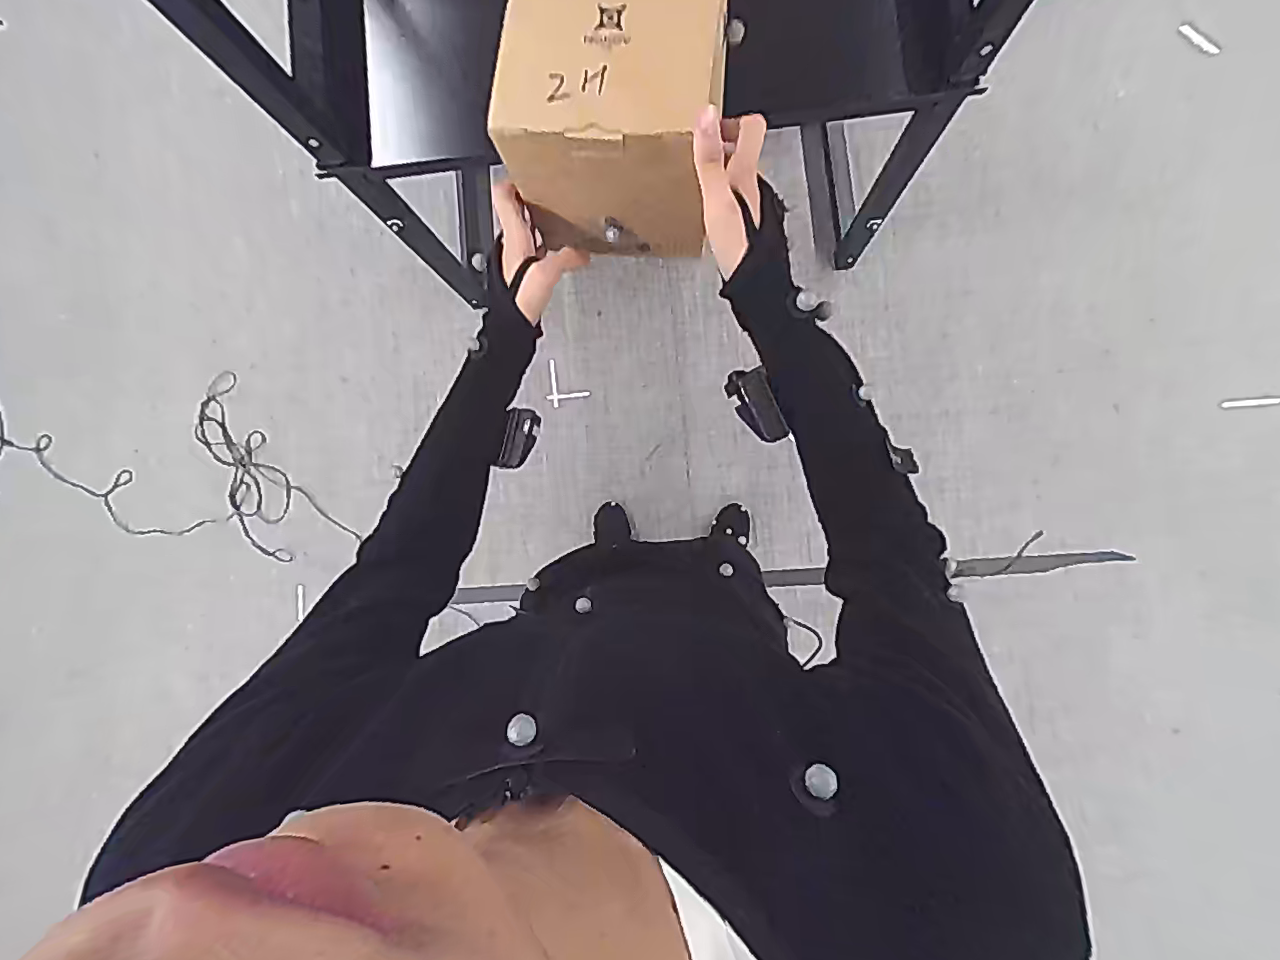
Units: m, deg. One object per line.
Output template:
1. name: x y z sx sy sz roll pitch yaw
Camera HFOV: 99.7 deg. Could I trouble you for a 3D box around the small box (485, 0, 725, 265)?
1. small box: -0.017 -0.323 0.487 0.168 0.176 0.179 7 82 8
